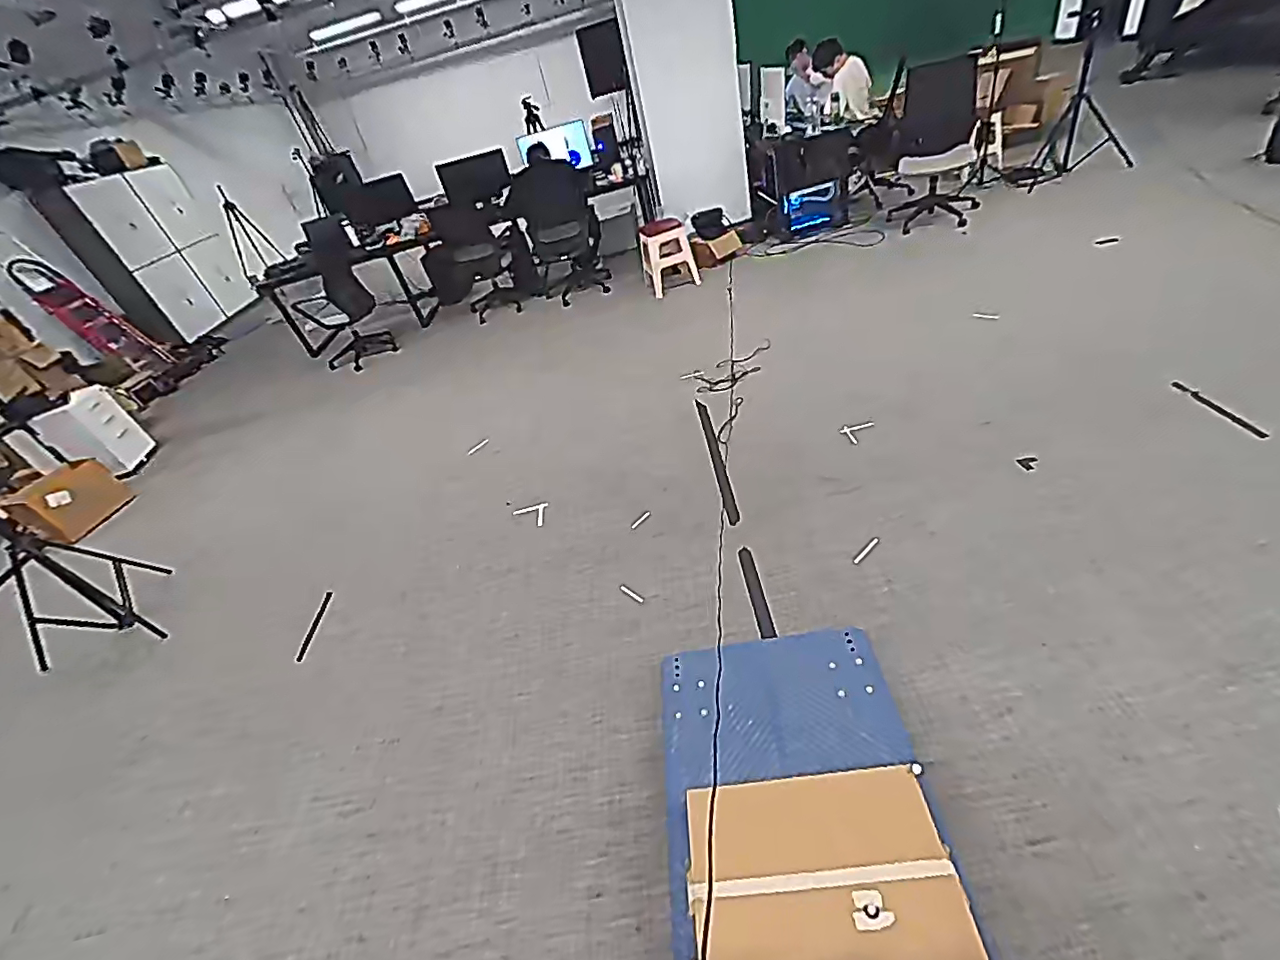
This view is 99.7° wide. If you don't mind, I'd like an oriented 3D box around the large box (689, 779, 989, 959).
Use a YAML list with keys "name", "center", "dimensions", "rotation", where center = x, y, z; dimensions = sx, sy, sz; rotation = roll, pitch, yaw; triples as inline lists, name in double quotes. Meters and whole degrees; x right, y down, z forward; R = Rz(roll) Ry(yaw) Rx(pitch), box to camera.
- name: "large box"
  center: [0.315, 0.759, 0.918]
  dimensions: [0.408, 0.320, 0.320]
  rotation: [-11, 38, 7]
